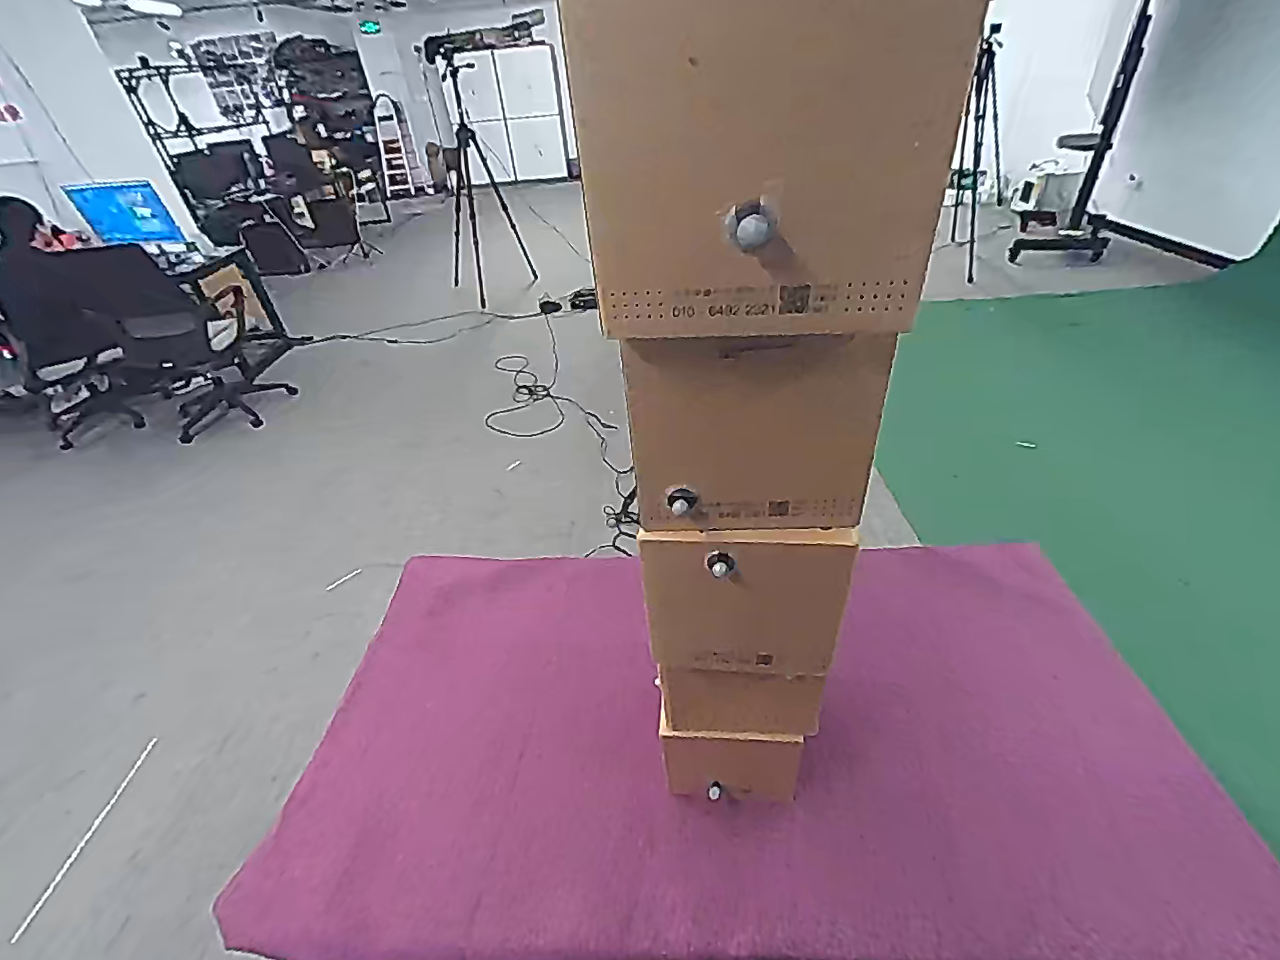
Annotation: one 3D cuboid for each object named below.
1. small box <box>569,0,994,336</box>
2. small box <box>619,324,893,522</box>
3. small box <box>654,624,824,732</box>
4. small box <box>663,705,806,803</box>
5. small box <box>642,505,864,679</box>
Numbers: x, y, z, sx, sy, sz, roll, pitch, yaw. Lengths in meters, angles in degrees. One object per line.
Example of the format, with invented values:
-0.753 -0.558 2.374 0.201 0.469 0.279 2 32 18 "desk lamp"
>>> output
0.066 -0.193 0.303 0.168 0.176 0.179 1 39 11 "small box"
0.082 -0.079 0.424 0.168 0.176 0.179 -2 37 6 "small box"
0.115 0.174 0.631 0.179 0.176 0.168 -1 38 7 "small box"
0.123 0.302 0.728 0.168 0.176 0.179 -1 39 8 "small box"
0.099 0.059 0.512 0.168 0.176 0.179 0 37 9 "small box"
